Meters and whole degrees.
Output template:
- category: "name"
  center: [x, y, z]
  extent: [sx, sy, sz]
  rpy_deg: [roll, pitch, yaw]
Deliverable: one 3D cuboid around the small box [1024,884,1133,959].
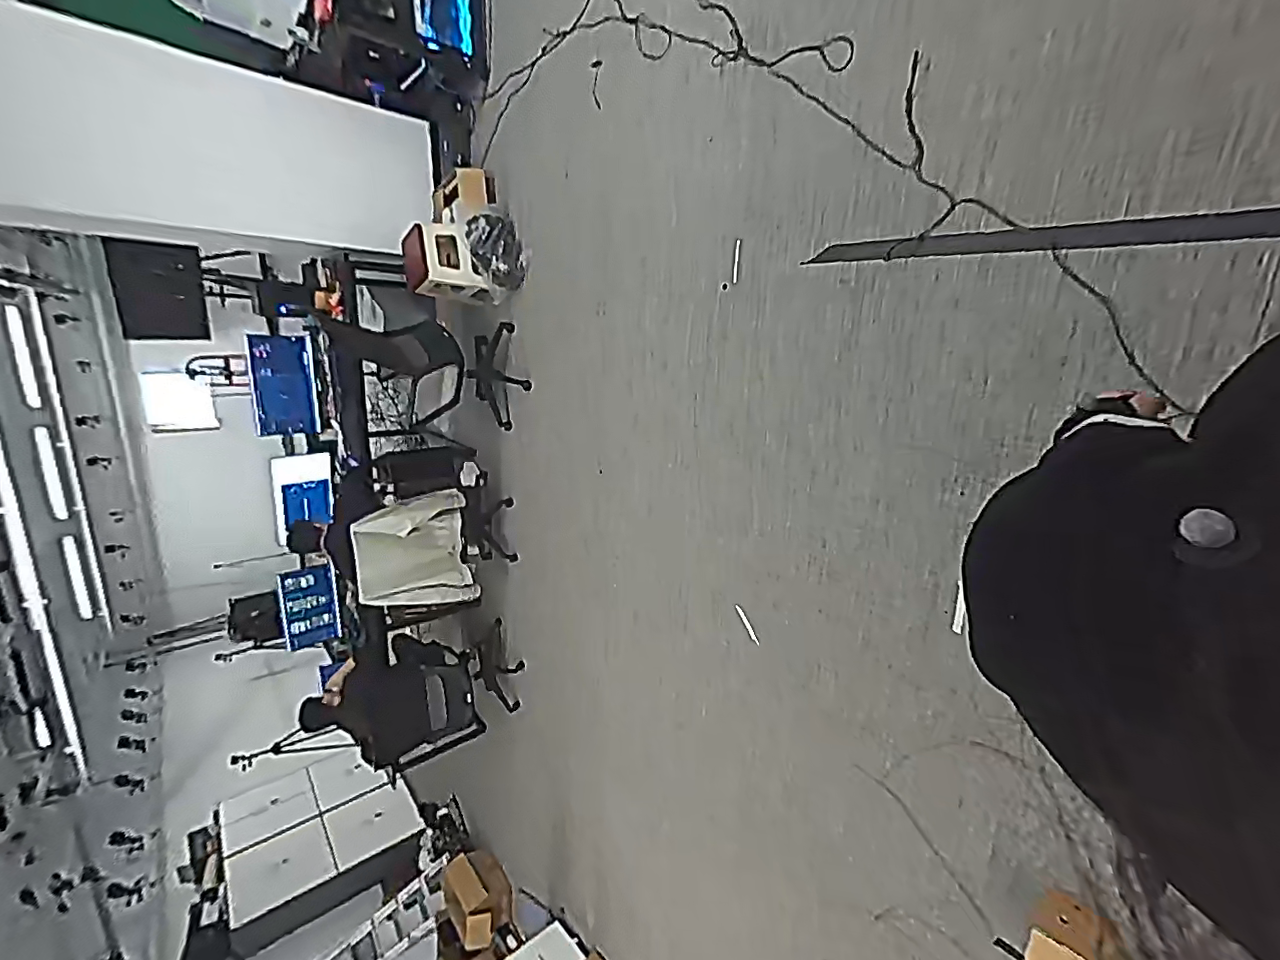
- category: "small box"
  center: [1.054, 1.137, 1.302]
  extent: [0.168, 0.176, 0.179]
  rpy_deg: [16, 112, 49]
